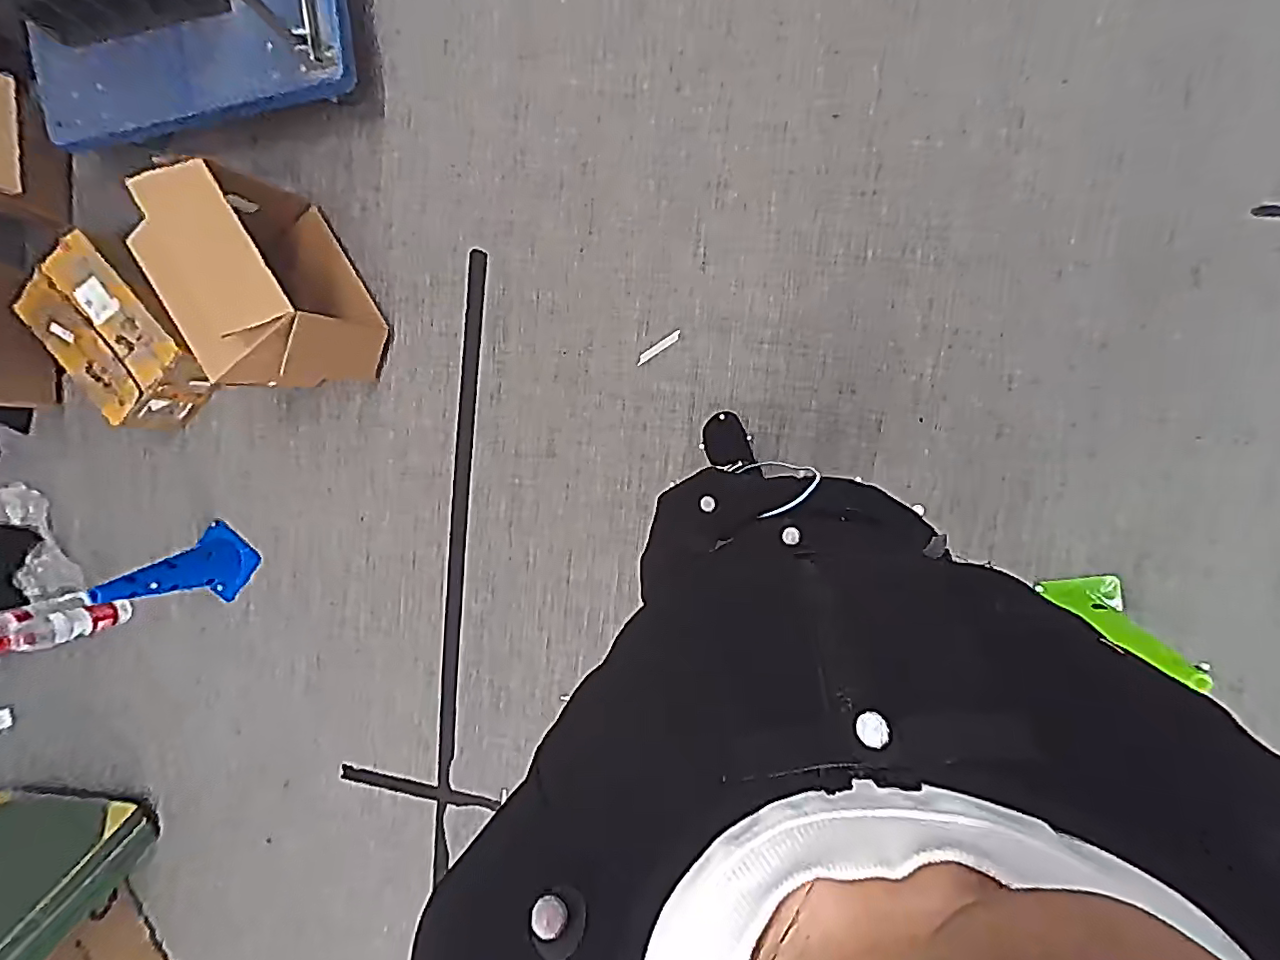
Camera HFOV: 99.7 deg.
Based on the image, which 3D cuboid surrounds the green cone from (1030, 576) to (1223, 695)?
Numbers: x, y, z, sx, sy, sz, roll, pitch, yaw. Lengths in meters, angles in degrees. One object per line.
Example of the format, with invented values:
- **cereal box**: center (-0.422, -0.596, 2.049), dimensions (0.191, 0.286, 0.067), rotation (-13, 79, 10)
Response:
- **green cone**: center (1.049, 0.358, 1.153), dimensions (0.202, 0.368, 0.200), rotation (-9, 95, 8)
